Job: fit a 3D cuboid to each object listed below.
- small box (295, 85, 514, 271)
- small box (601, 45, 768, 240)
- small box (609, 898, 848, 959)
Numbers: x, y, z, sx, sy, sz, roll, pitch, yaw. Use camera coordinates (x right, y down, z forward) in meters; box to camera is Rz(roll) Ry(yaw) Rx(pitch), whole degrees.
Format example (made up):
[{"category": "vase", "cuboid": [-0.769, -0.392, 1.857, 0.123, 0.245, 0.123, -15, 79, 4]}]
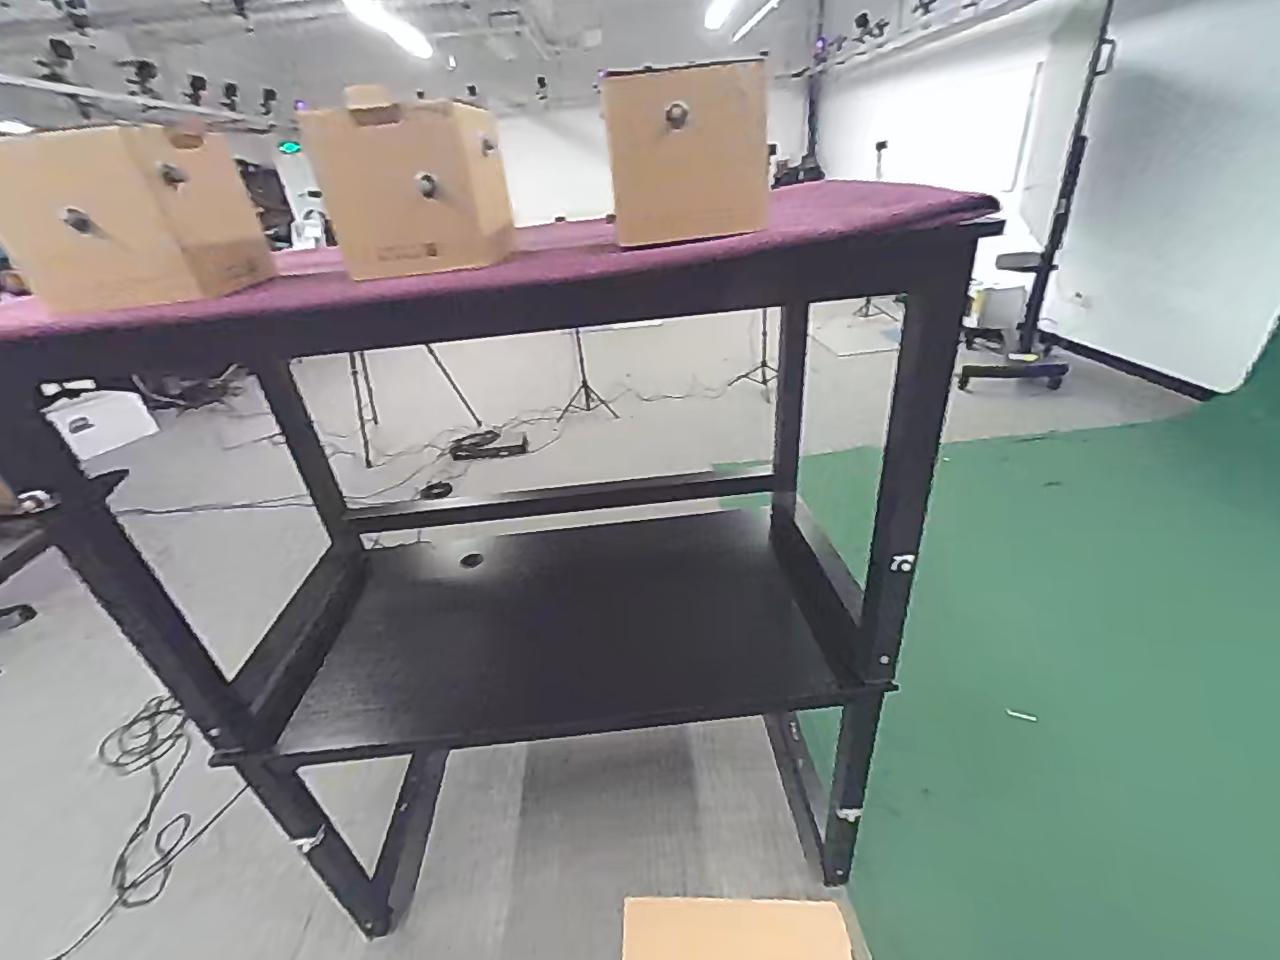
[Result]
[{"category": "small box", "cuboid": [-0.258, -0.352, 0.648, 0.168, 0.176, 0.179, -4, 29, 2]}, {"category": "small box", "cuboid": [0.051, -0.394, 0.657, 0.179, 0.176, 0.168, -7, 28, 0]}, {"category": "small box", "cuboid": [0.065, 0.439, 0.387, 0.179, 0.176, 0.168, 0, 27, 2]}]
